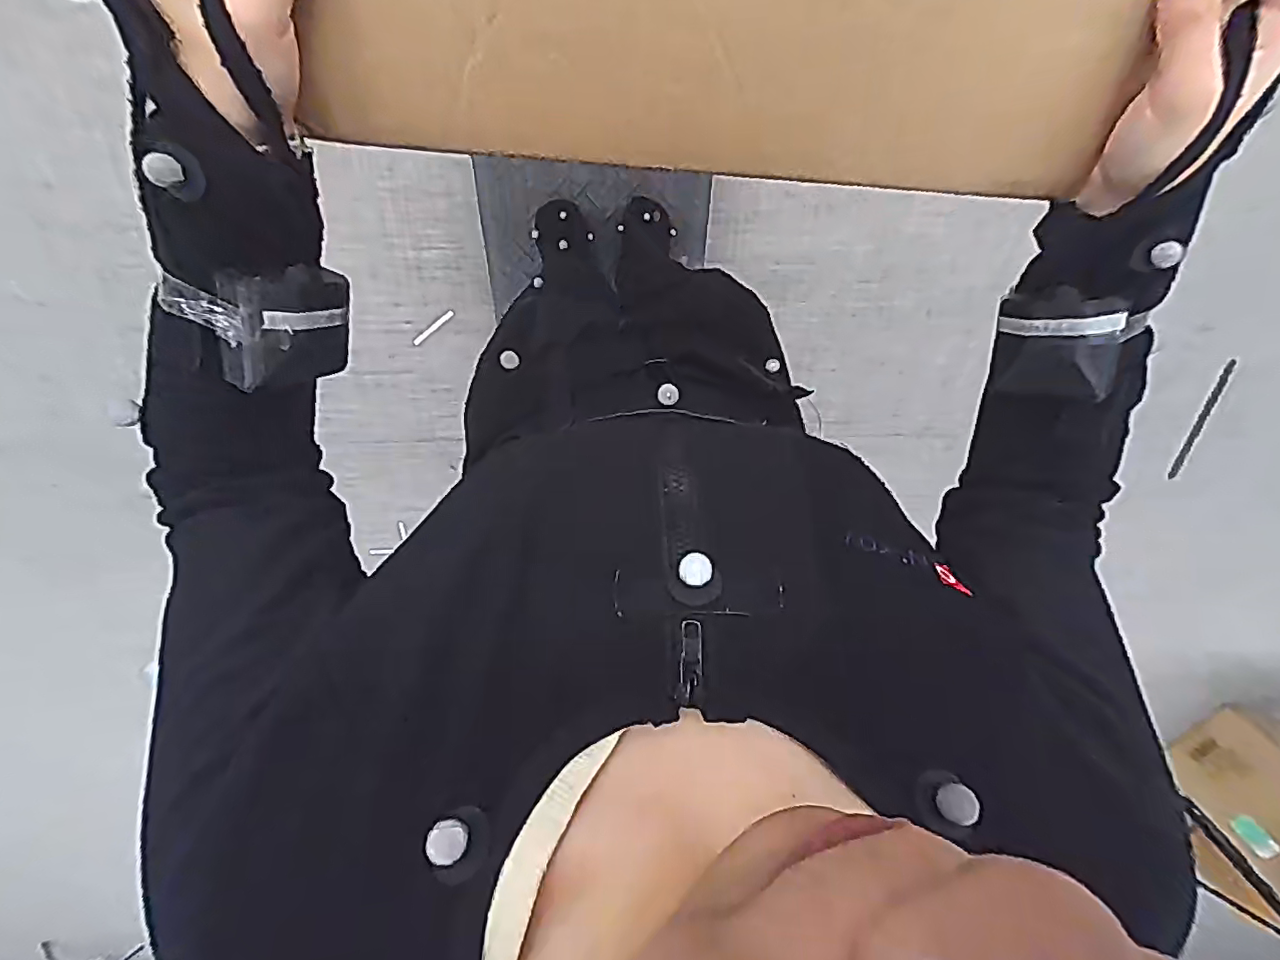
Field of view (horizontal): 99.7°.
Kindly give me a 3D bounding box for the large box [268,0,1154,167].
[{"bbox_3d":[0.034,-0.386,0.281,0.408,0.320,0.320,1,135,-5],"label":"large box"}]
